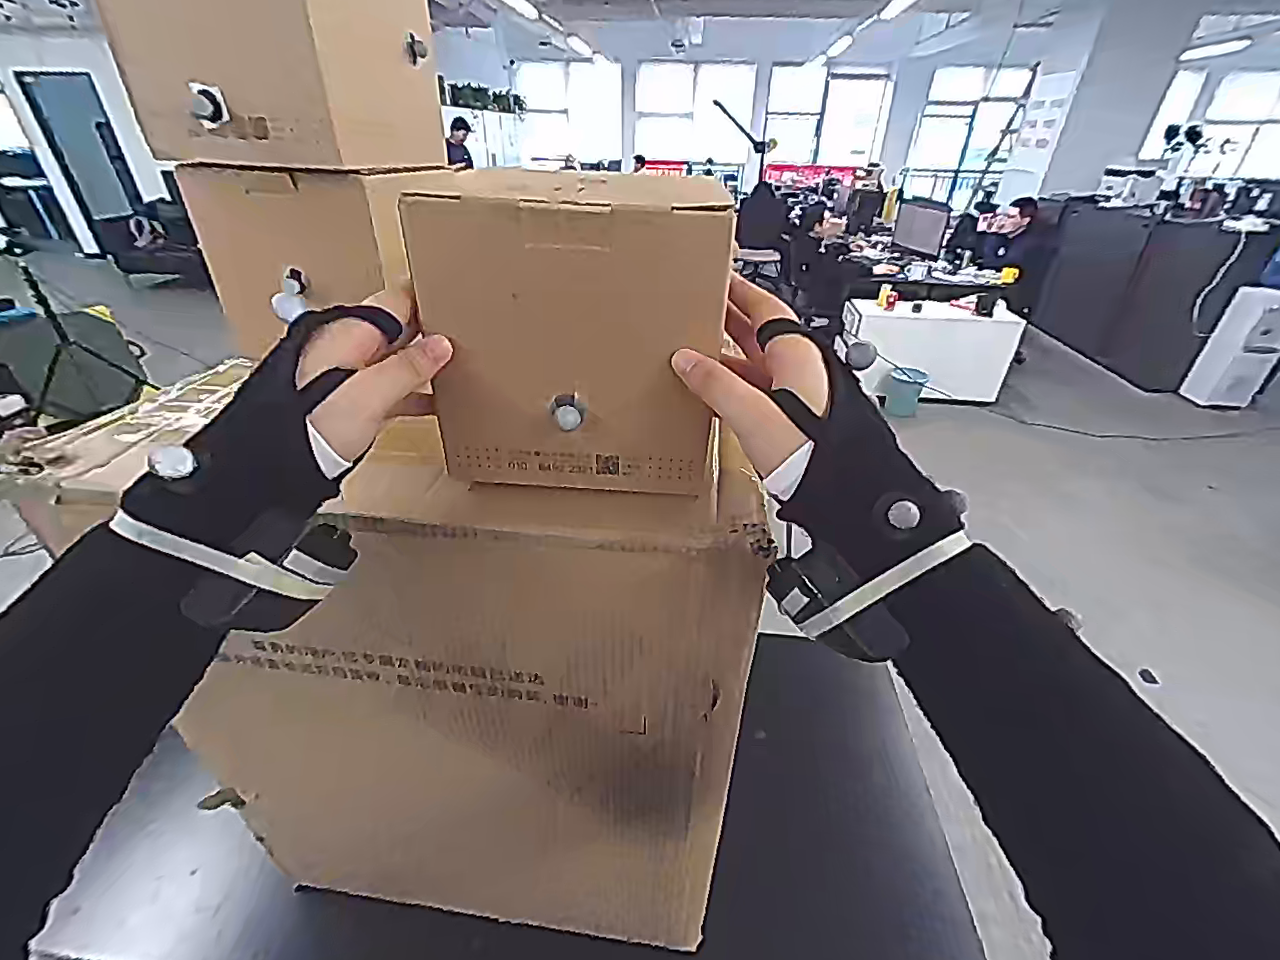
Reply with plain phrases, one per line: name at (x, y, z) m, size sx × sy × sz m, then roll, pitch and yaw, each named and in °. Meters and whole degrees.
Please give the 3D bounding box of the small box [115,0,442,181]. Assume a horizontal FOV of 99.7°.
small box at (-0.280, -0.348, 0.442) m, size 0.168 × 0.176 × 0.179 m, roll 5°, pitch 32°, yaw 7°

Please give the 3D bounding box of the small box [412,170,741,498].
small box at (-0.029, -0.108, 0.373) m, size 0.168 × 0.176 × 0.179 m, roll 3°, pitch 34°, yaw 2°

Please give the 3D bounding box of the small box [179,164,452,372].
small box at (-0.285, -0.218, 0.542) m, size 0.168 × 0.176 × 0.179 m, roll 6°, pitch 32°, yaw 5°
